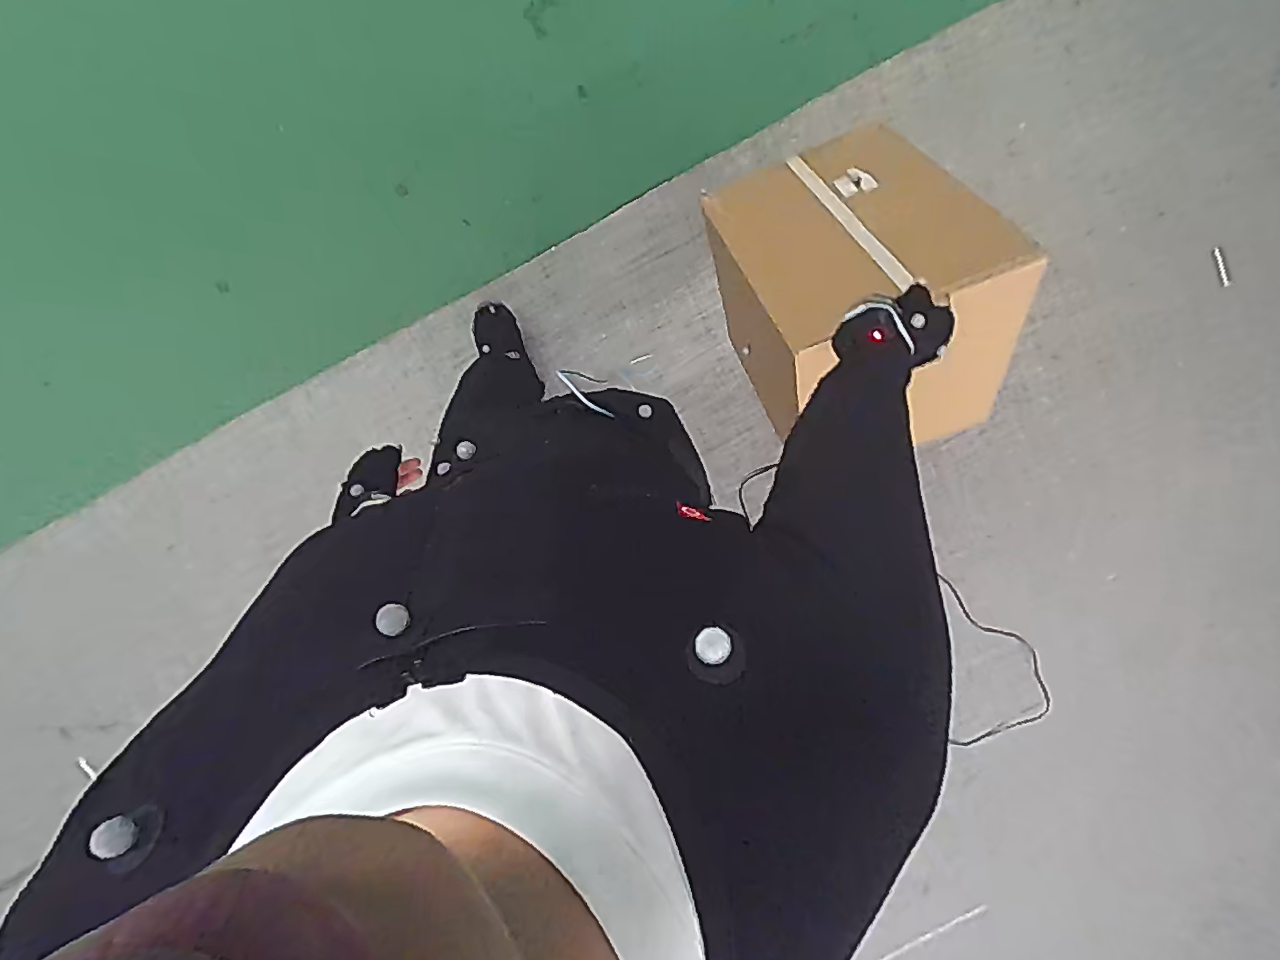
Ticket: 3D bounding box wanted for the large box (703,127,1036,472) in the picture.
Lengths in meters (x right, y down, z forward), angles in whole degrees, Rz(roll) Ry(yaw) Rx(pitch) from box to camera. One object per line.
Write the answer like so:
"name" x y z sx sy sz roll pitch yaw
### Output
"large box" 0.337 -0.291 0.896 0.320 0.408 0.320 -20 143 6
